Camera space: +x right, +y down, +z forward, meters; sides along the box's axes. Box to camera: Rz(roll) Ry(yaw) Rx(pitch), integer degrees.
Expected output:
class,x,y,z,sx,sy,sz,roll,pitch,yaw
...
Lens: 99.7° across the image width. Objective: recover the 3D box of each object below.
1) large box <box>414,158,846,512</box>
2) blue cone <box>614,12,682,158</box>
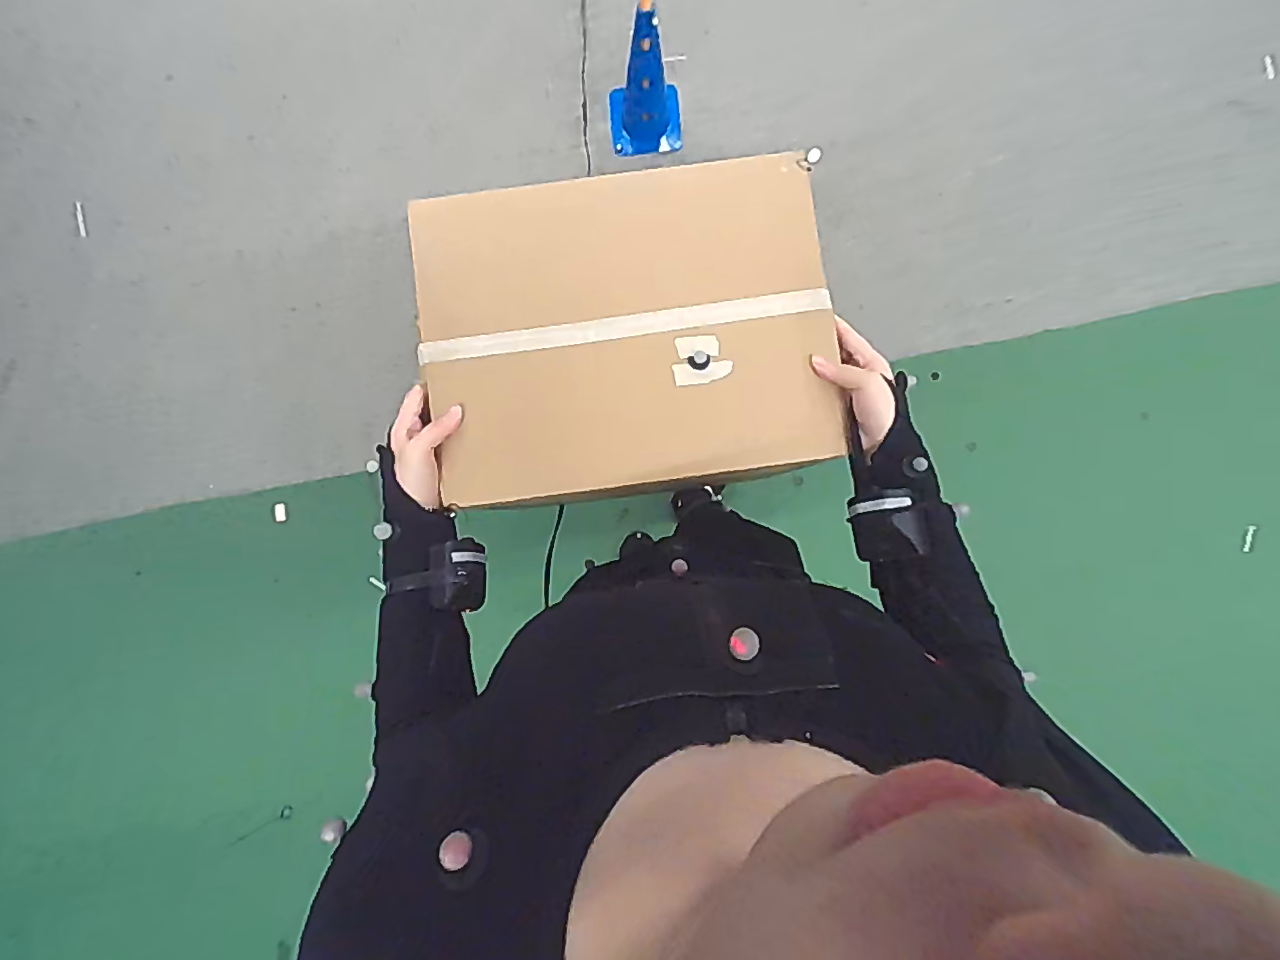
class,x,y,z,sx,sy,sz,roll,pitch,yaw
large box,-0.016,-0.141,0.689,0.408,0.320,0.320,-8,87,-2
blue cone,0.019,-1.036,1.399,0.193,0.380,0.192,-4,88,0
